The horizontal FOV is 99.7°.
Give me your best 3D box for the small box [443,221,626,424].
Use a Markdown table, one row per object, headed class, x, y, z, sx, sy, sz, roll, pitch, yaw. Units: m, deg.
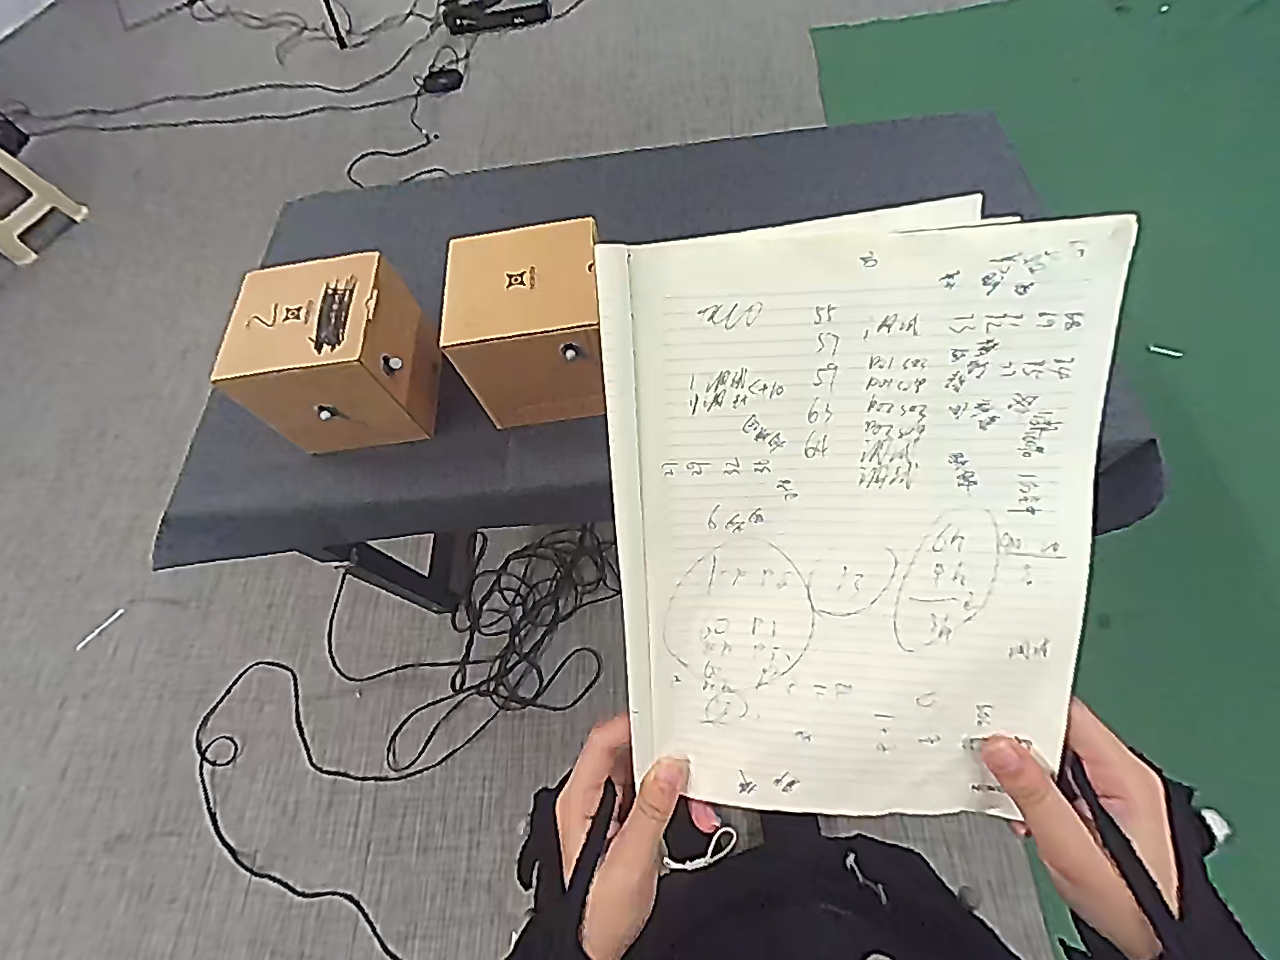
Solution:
| class | x | y | z | sx | sy | sz | roll | pitch | yaw |
| --- | --- | --- | --- | --- | --- | --- | --- | --- | --- |
| small box | -0.120 | -0.185 | 0.673 | 0.179 | 0.176 | 0.168 | -8 | 63 | 4 |
